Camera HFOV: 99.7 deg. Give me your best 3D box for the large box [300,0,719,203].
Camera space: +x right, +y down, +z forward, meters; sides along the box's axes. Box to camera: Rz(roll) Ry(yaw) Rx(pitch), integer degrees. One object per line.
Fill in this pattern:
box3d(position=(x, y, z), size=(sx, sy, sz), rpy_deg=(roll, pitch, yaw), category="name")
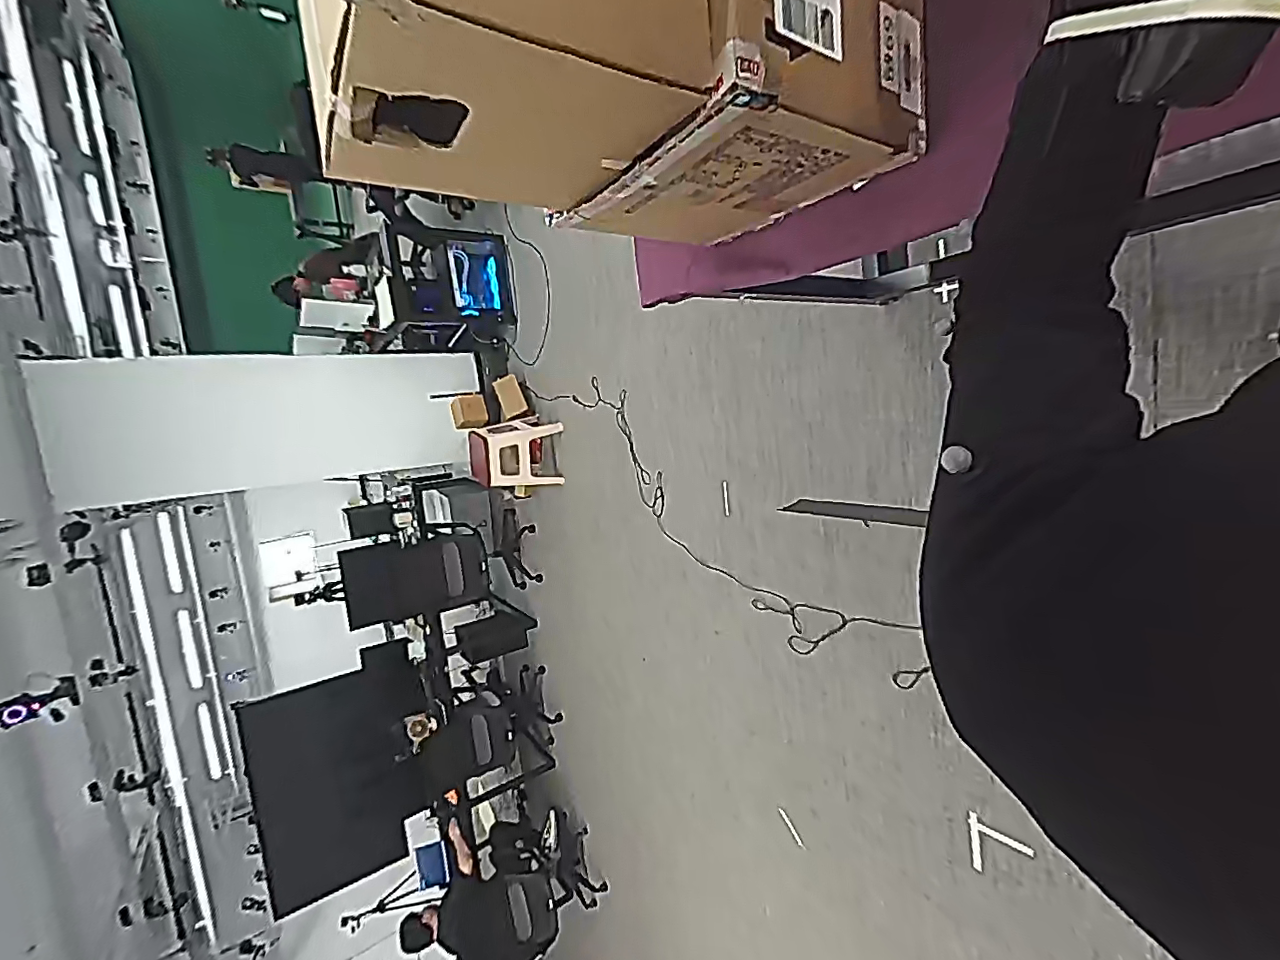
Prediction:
box3d(position=(-0.153, -0.548, 0.523), size=(0.320, 0.320, 0.408), rpy_deg=(4, 103, 58), category="large box")
